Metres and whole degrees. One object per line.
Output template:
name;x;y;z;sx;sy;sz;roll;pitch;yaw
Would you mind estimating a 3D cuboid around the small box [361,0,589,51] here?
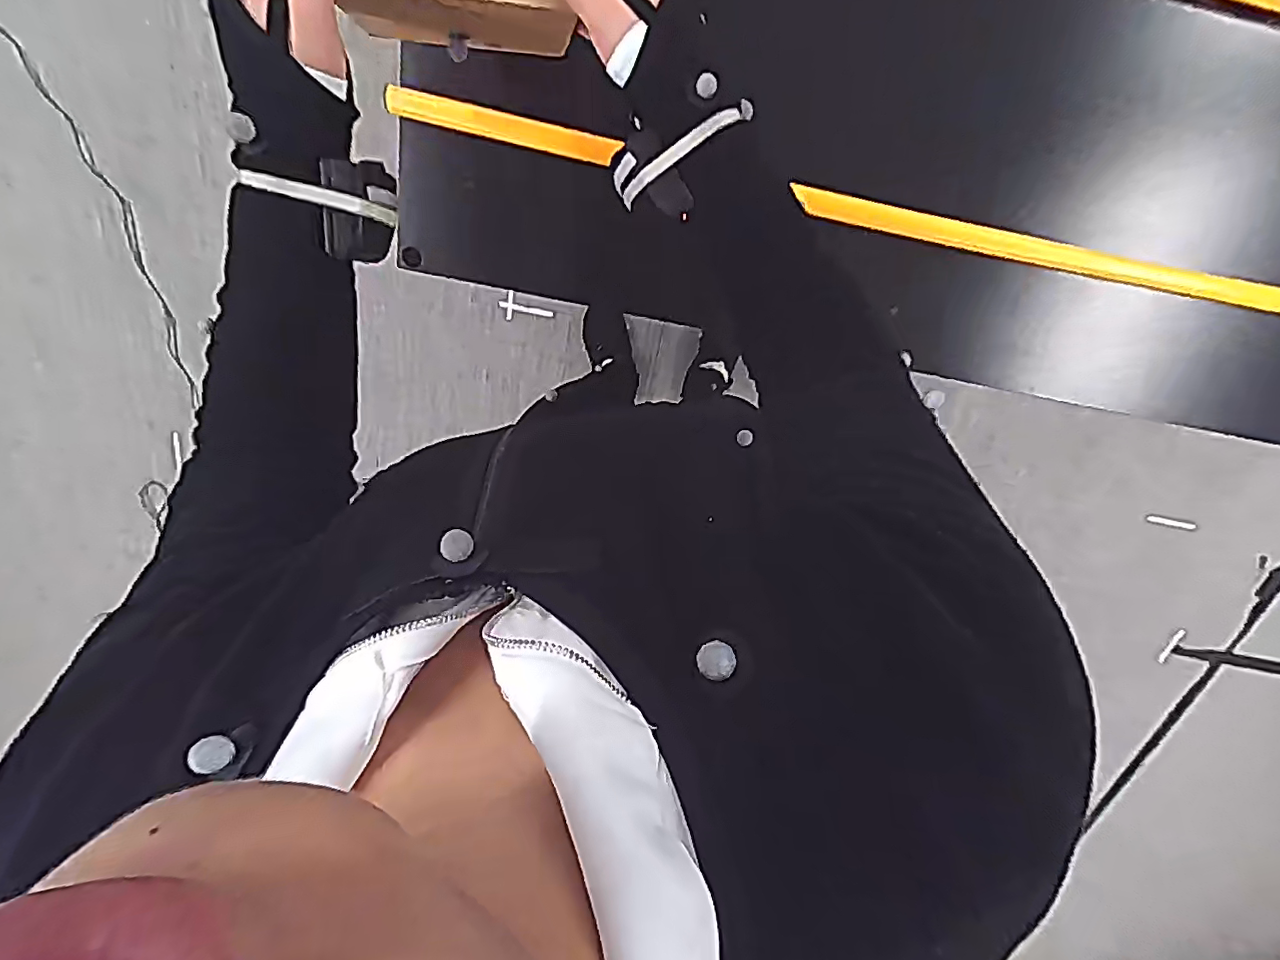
small box;-0.123;-0.418;0.360;0.168;0.176;0.179;-3;121;-12
